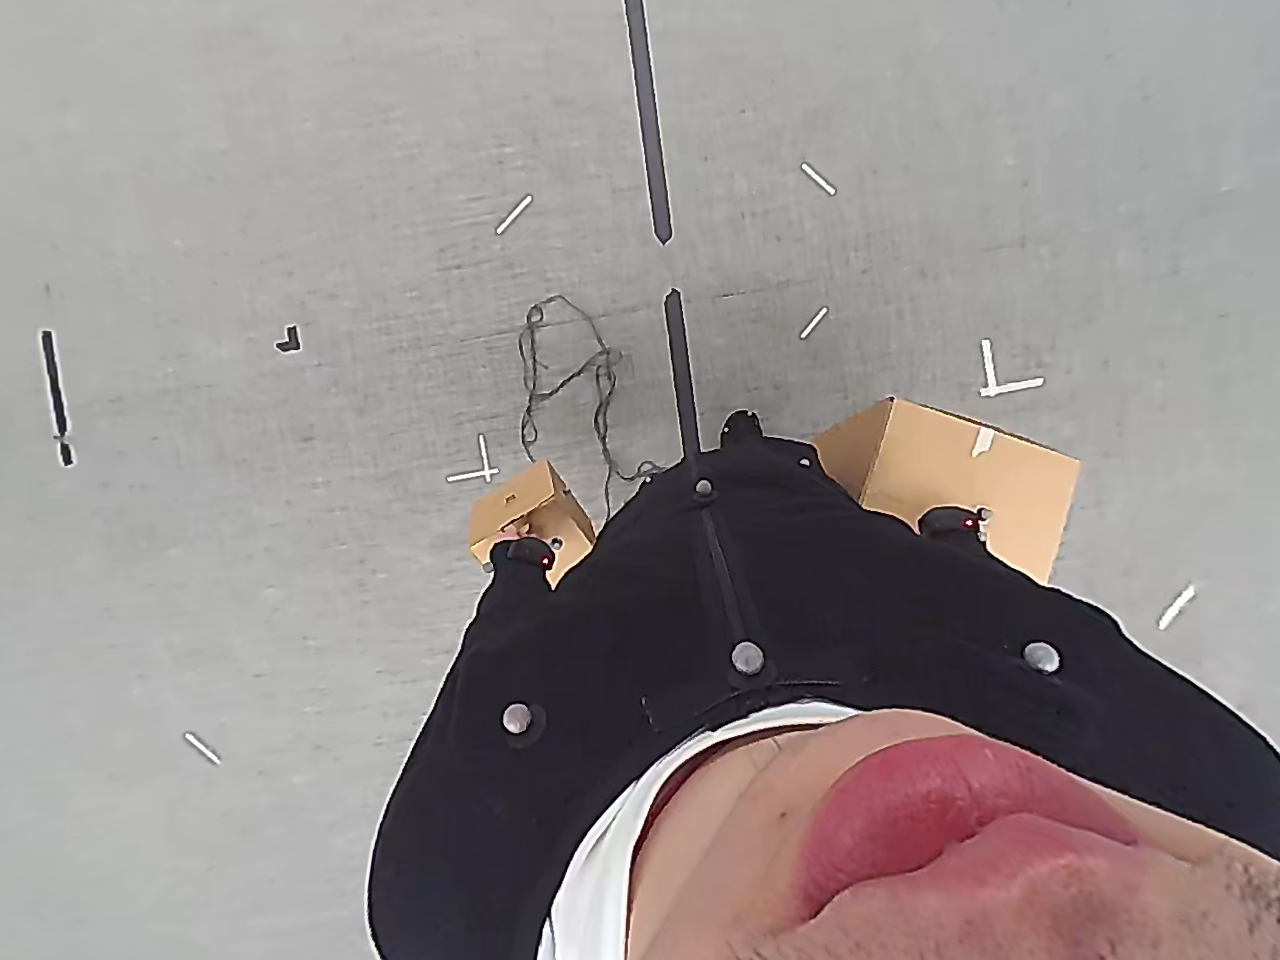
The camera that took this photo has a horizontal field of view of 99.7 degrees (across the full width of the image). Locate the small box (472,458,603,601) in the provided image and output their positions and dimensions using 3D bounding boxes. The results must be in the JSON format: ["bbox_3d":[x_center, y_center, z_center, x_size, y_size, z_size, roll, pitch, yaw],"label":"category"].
[{"bbox_3d":[-0.184,0.096,0.986,0.168,0.179,0.176,-32,118,1],"label":"small box"}]
